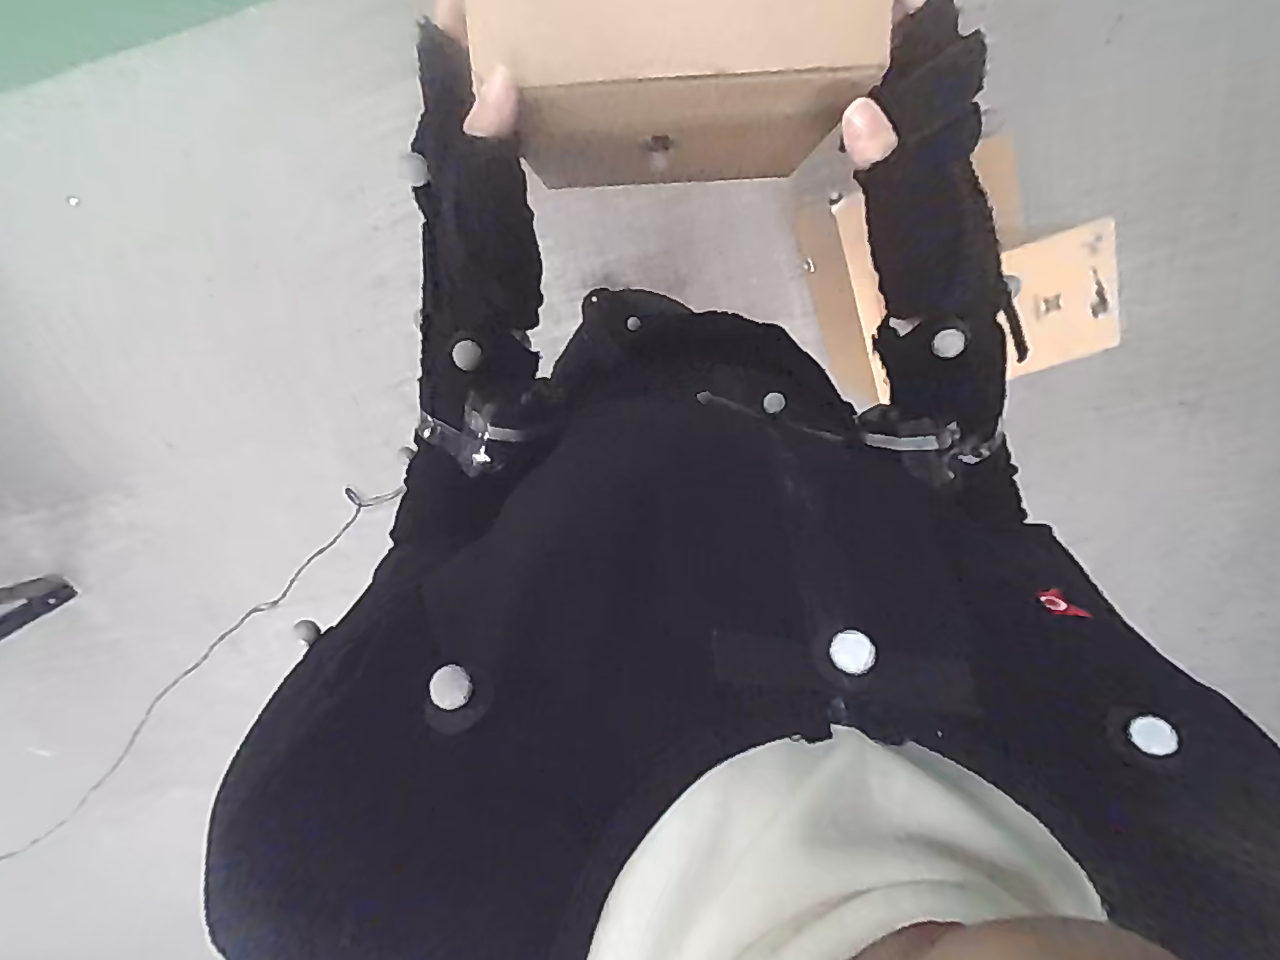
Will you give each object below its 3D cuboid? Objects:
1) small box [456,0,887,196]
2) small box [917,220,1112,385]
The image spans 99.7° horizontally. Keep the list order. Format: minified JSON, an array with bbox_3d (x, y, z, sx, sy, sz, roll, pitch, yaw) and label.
[{"bbox_3d":[0.007,-0.260,0.279,0.179,0.176,0.168,-6,106,1],"label":"small box"},{"bbox_3d":[0.517,-0.251,0.772,0.179,0.176,0.168,-16,109,9],"label":"small box"}]
